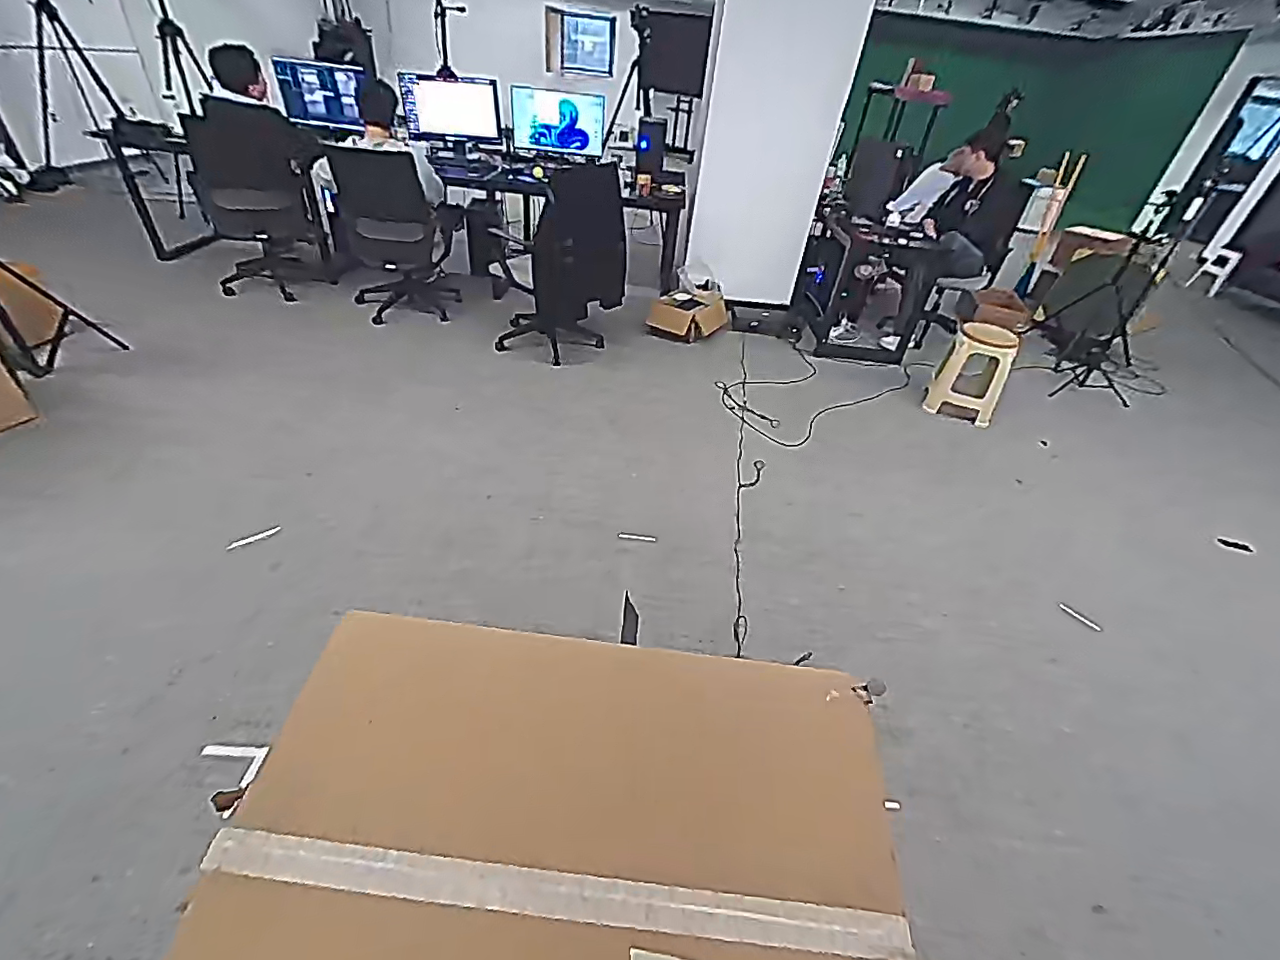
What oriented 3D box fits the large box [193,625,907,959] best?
[{"bbox_3d":[-0.052,0.346,0.433,0.408,0.320,0.320,7,49,1],"label":"large box"}]
